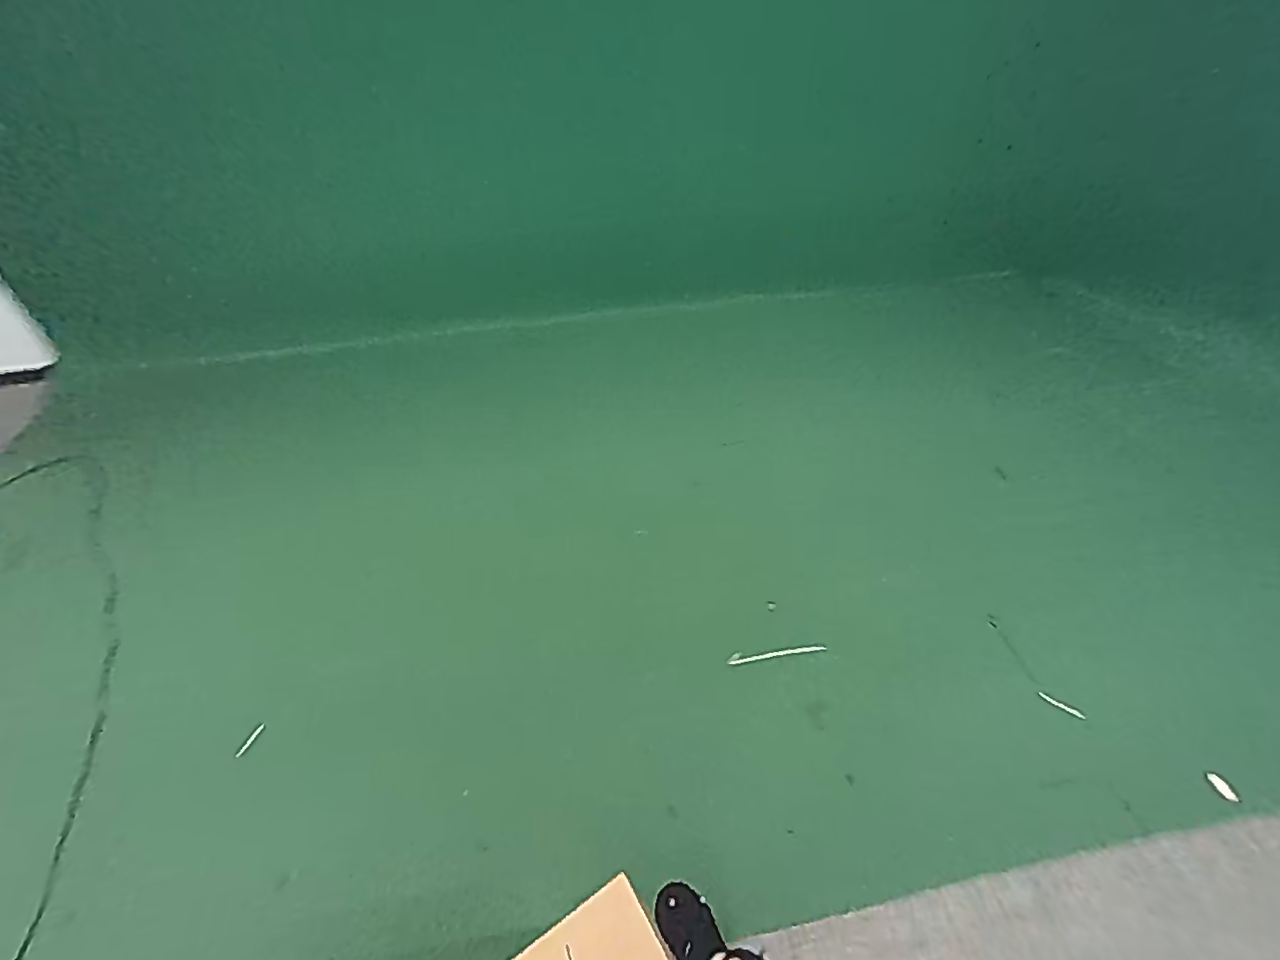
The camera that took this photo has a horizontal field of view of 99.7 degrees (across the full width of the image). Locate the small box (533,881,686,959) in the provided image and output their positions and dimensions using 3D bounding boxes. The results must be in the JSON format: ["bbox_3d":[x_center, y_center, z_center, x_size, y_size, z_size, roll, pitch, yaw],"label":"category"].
[{"bbox_3d":[-0.012,0.574,0.558,0.168,0.176,0.179,-27,41,-18],"label":"small box"}]
